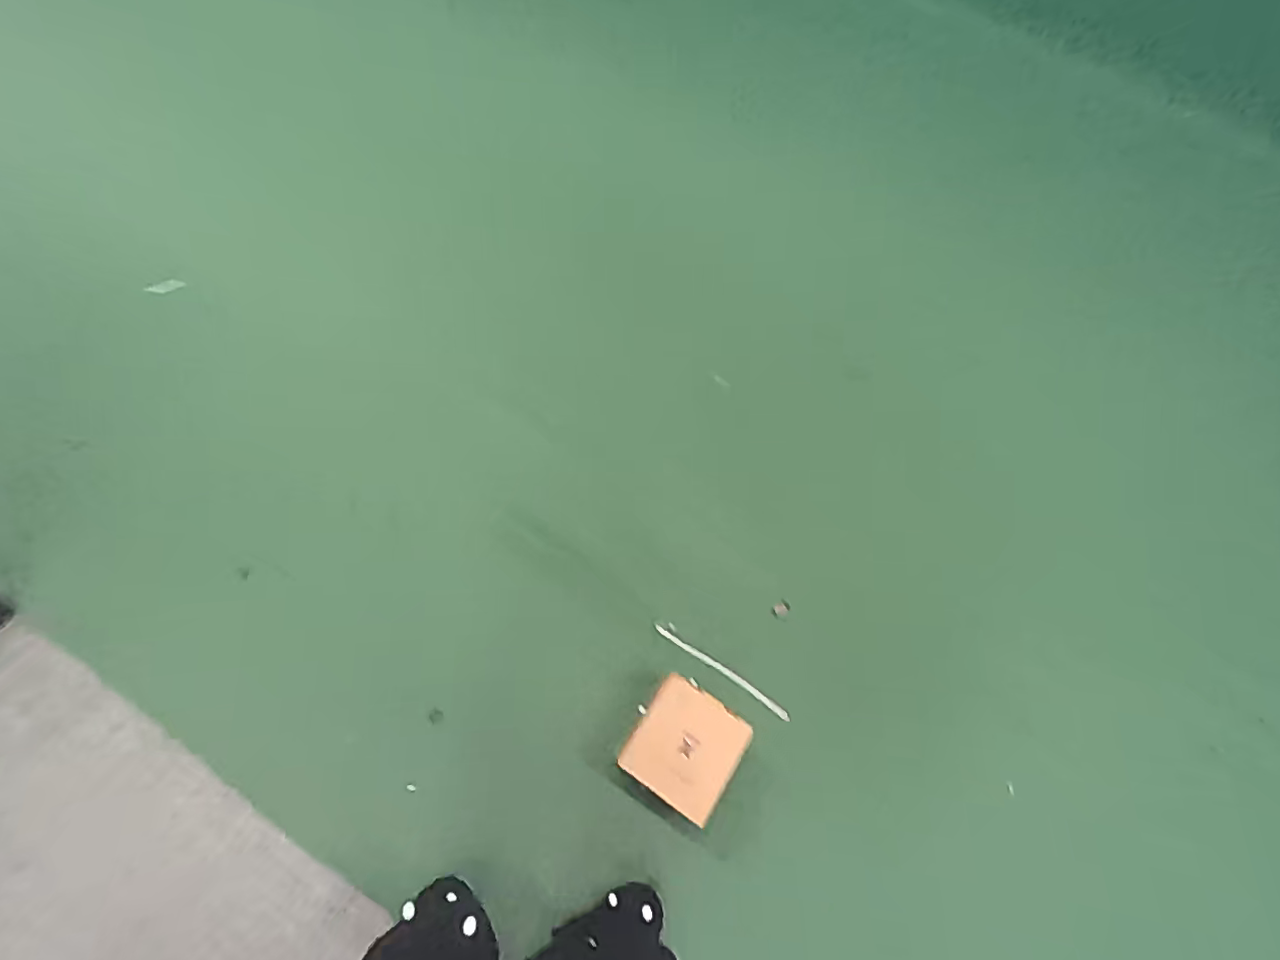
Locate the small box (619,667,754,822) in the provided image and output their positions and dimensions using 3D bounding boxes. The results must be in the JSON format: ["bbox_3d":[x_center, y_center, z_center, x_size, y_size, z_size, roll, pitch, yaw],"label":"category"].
[{"bbox_3d":[0.073,0.459,0.963,0.168,0.176,0.179,35,70,11],"label":"small box"}]
